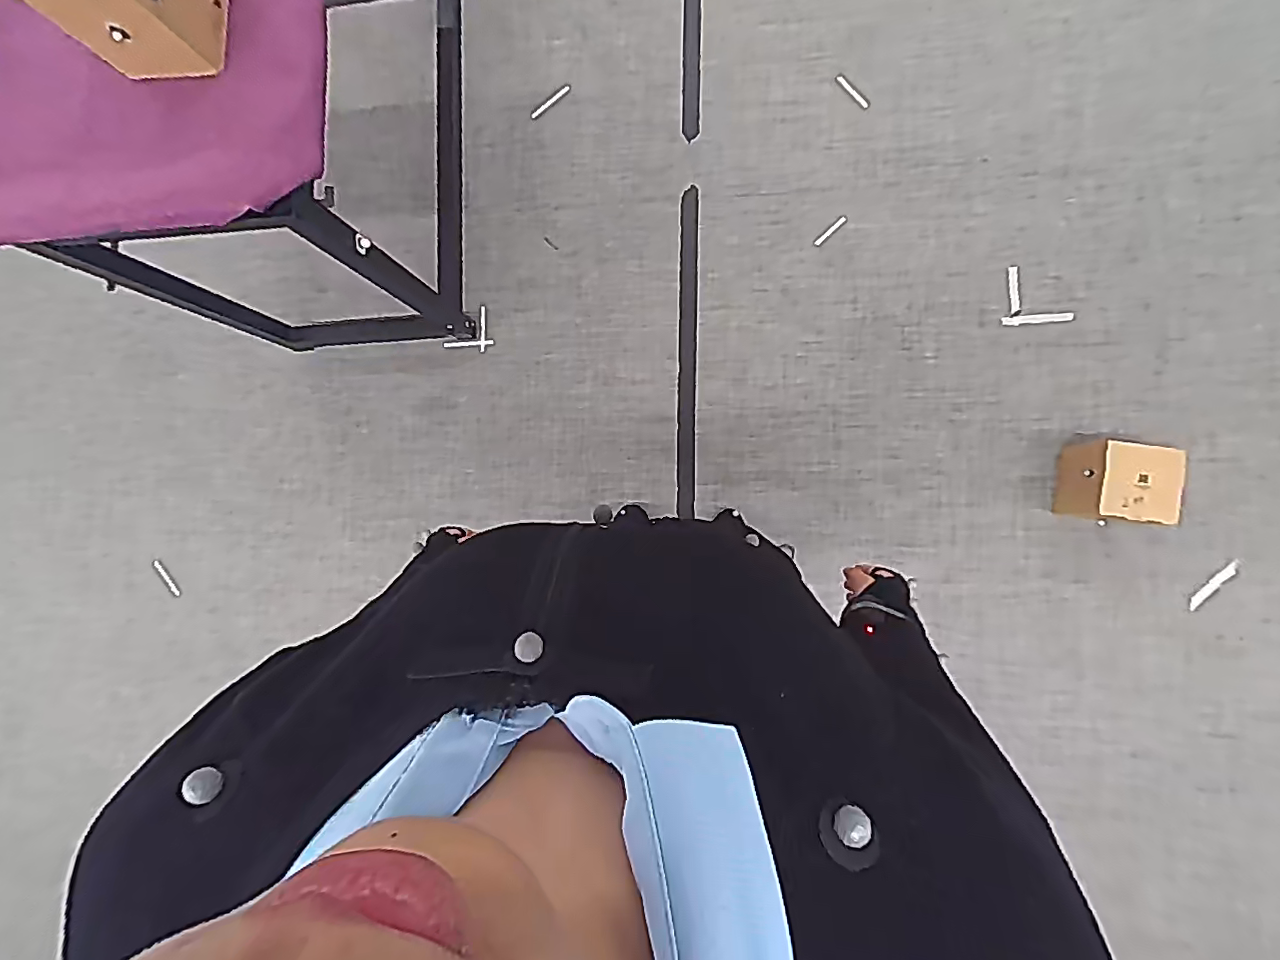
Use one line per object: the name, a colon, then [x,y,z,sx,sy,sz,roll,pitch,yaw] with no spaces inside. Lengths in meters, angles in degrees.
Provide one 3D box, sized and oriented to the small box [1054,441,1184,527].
small box: [1.146,0.013,1.308,0.168,0.176,0.179,9,89,7]
